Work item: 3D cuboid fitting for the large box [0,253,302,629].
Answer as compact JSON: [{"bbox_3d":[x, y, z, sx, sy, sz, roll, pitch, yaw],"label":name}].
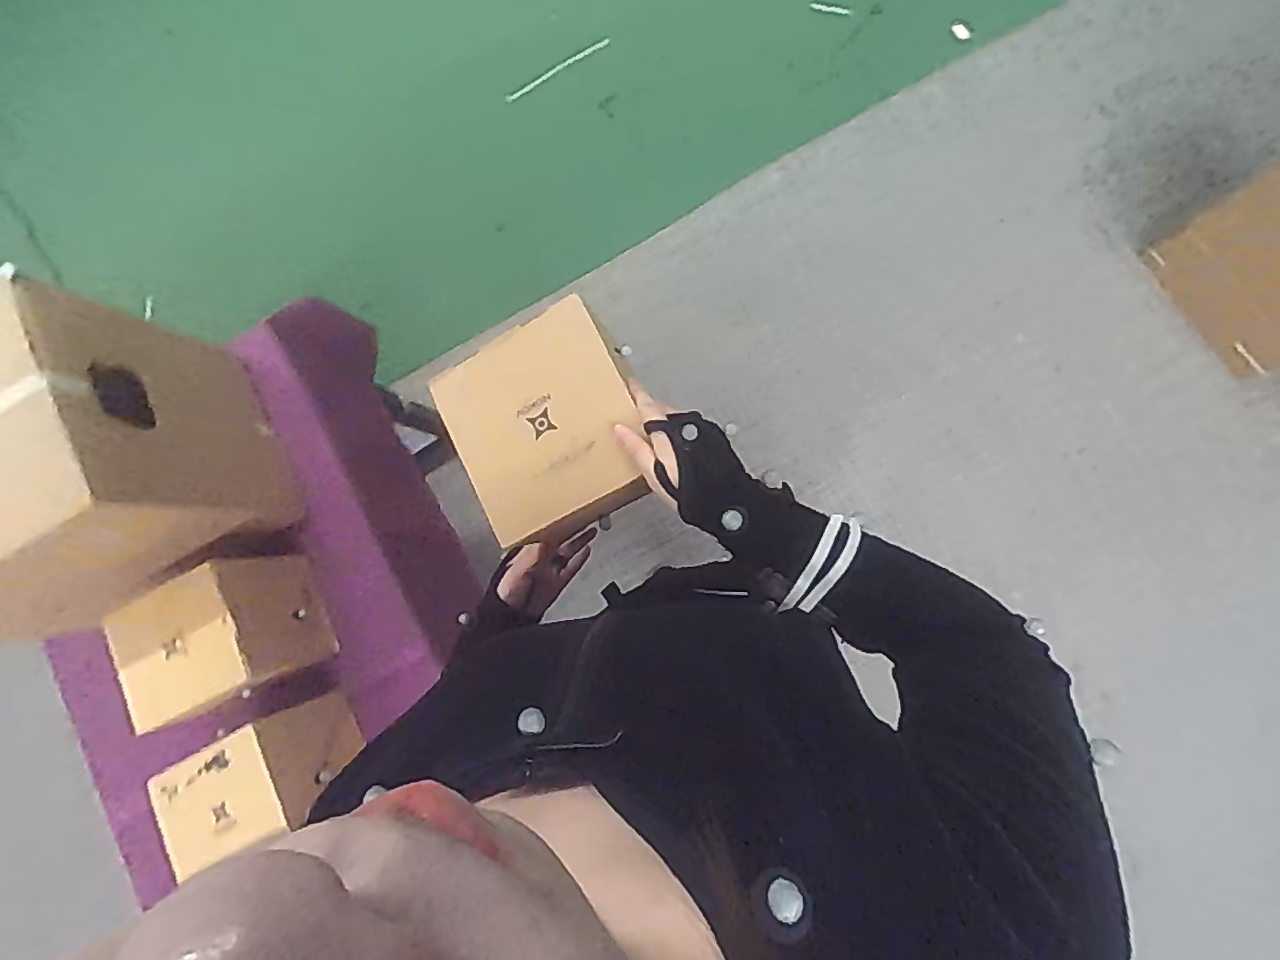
[{"bbox_3d":[-0.797,-0.019,0.754,0.408,0.320,0.320,-29,82,3],"label":"large box"}]
